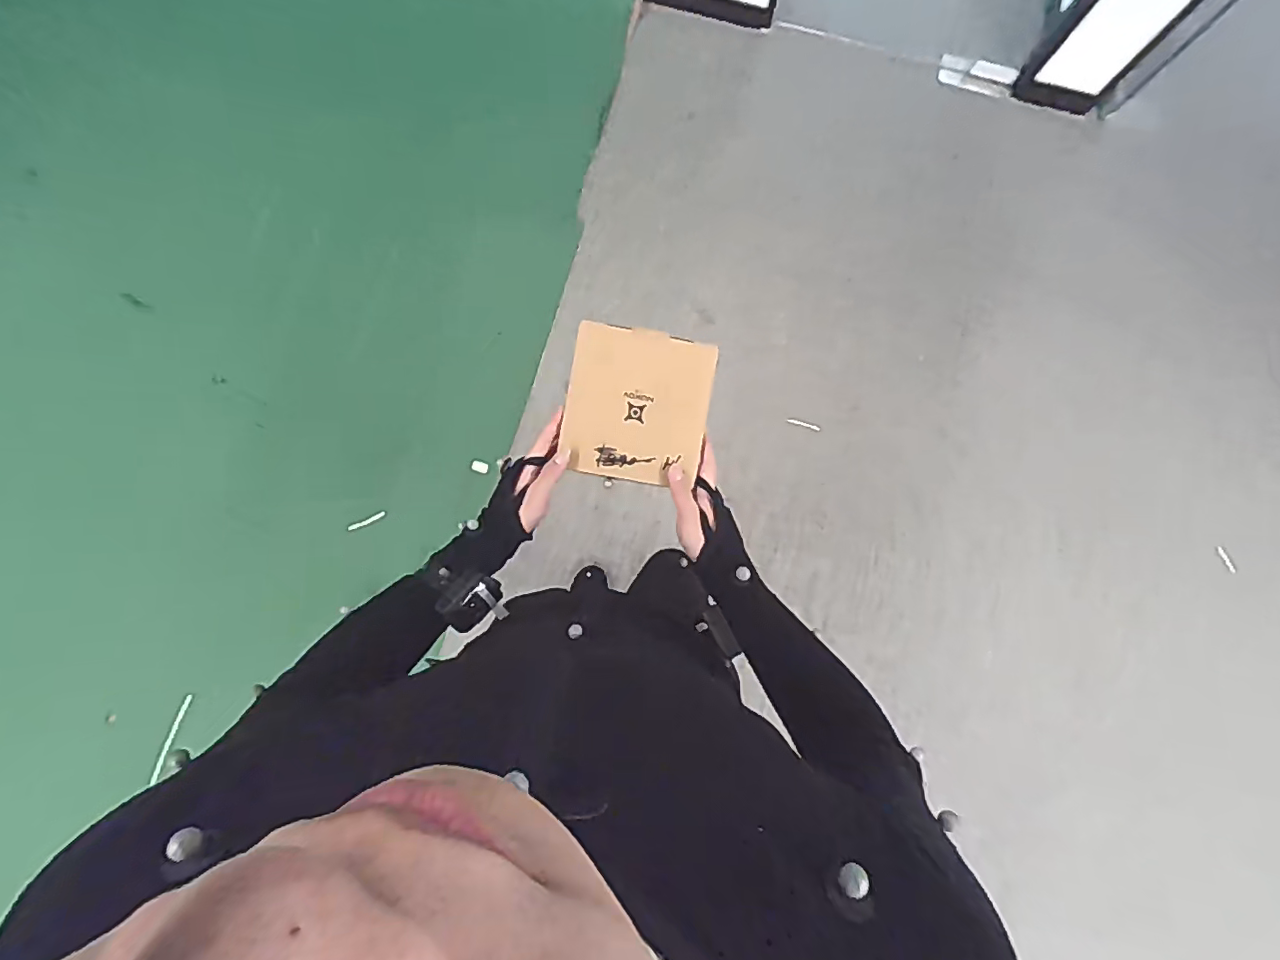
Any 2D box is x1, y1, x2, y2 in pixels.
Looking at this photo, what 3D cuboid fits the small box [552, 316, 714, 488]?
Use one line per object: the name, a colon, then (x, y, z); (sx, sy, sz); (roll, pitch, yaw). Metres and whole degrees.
small box: (-0.013, -0.092, 0.709); (0.168, 0.176, 0.179); (11, 91, -3)
